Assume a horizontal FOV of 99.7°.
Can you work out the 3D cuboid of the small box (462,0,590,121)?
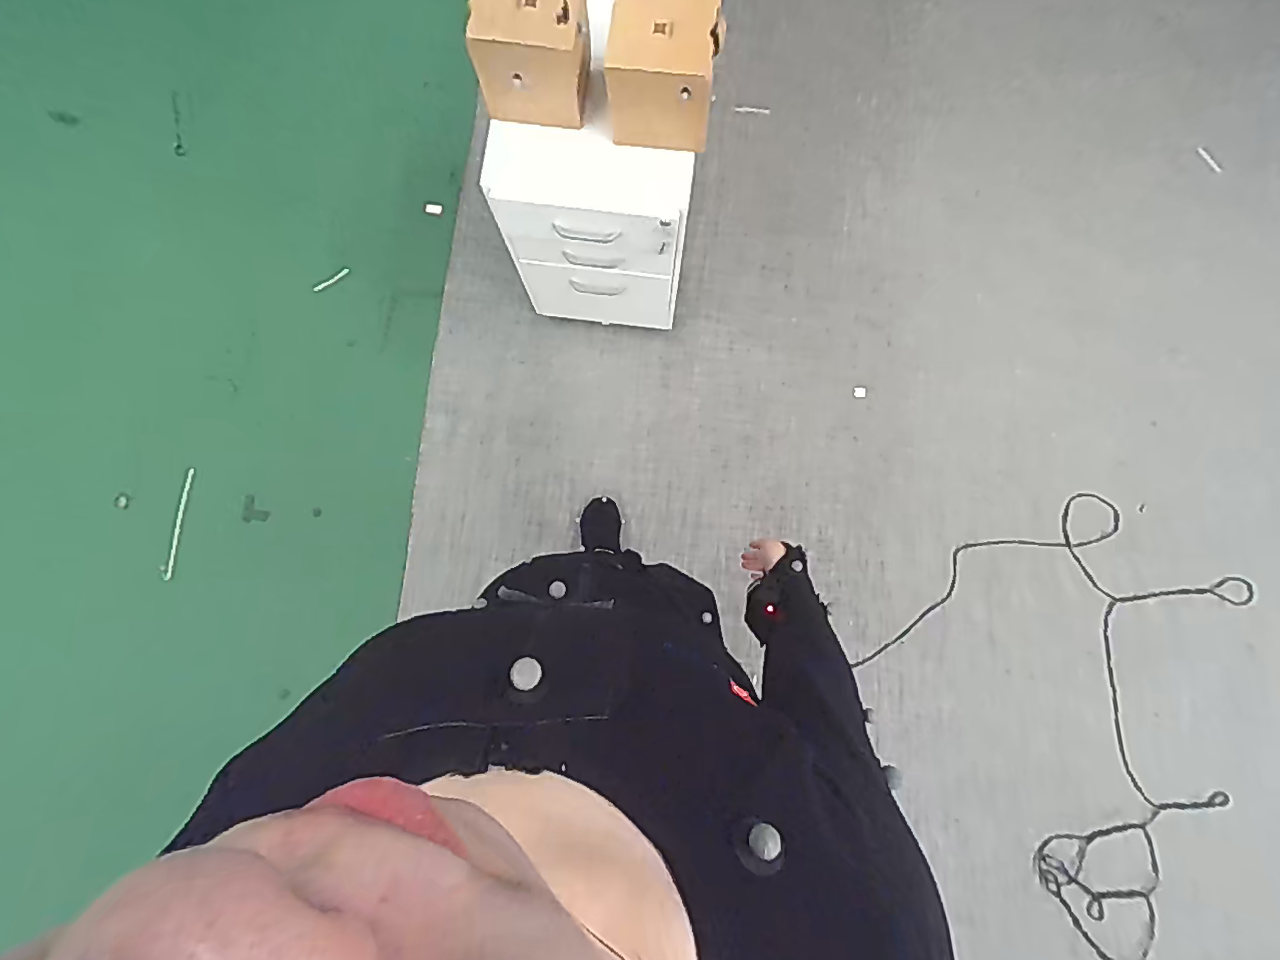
[{"bbox_3d":[-0.191,-0.771,0.951,0.179,0.176,0.168,7,83,0],"label":"small box"}]
